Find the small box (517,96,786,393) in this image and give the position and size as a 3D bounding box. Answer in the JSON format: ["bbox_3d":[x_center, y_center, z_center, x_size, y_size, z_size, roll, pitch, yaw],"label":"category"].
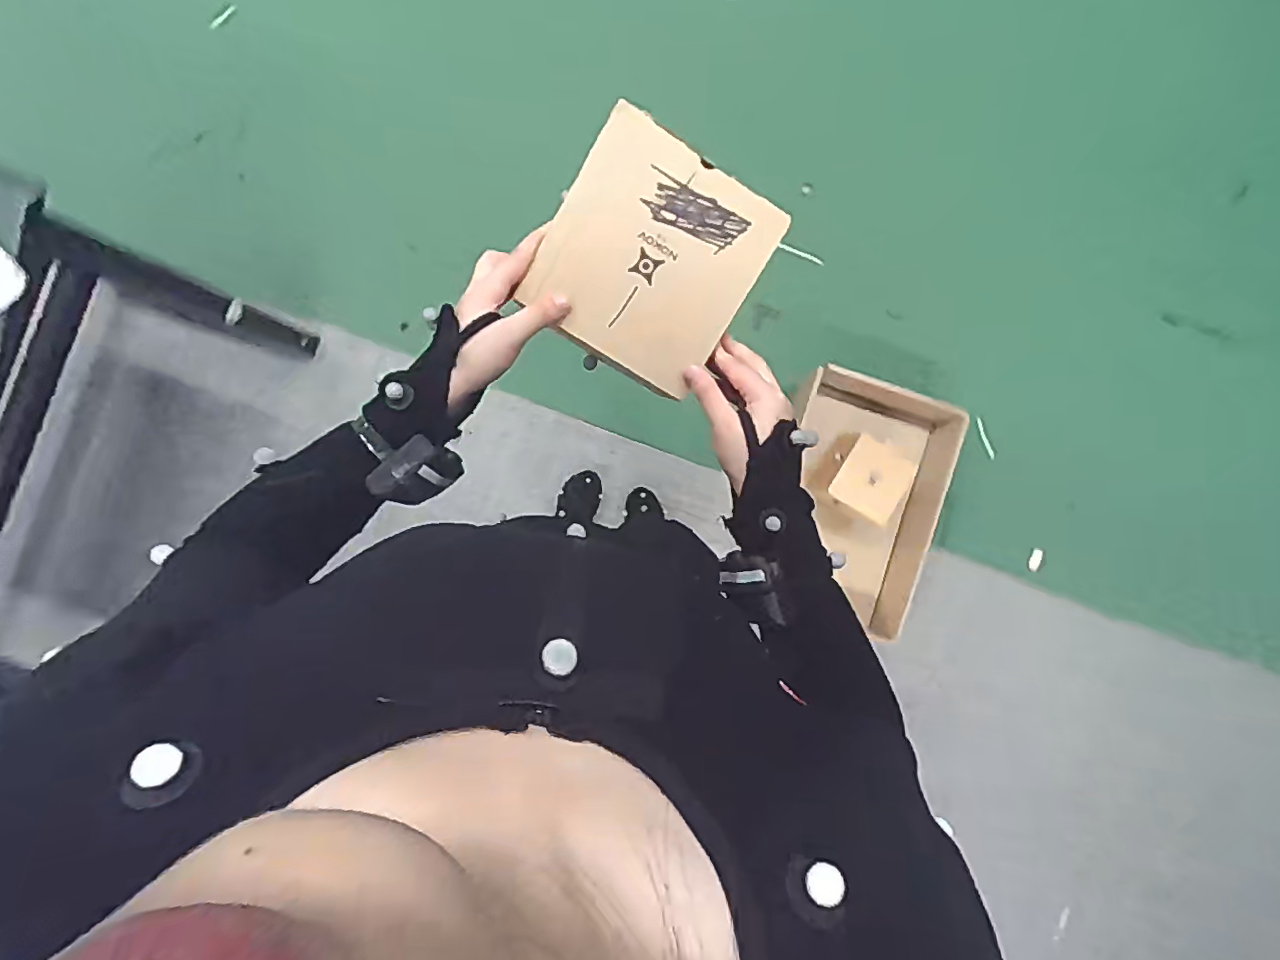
[{"bbox_3d":[0.003,-0.202,0.519,0.168,0.176,0.179,29,98,-9],"label":"small box"}]

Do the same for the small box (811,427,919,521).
[{"bbox_3d":[0.566,-0.016,1.392,0.168,0.176,0.179,32,90,-3],"label":"small box"}]
